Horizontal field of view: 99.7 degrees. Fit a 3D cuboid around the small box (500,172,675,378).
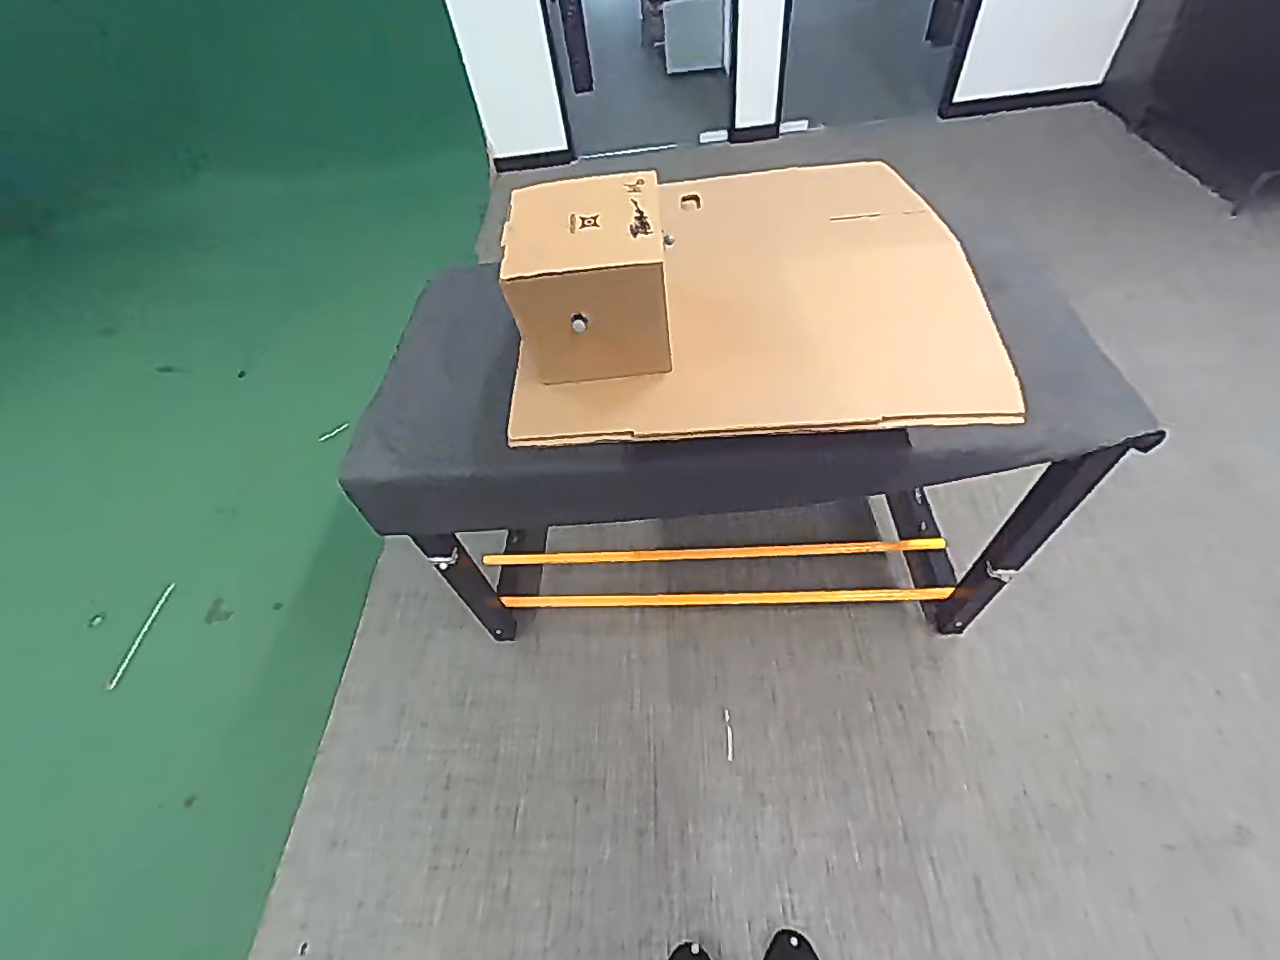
[{"bbox_3d":[-0.054,-0.244,0.672,0.179,0.176,0.168,-5,59,5],"label":"small box"}]
